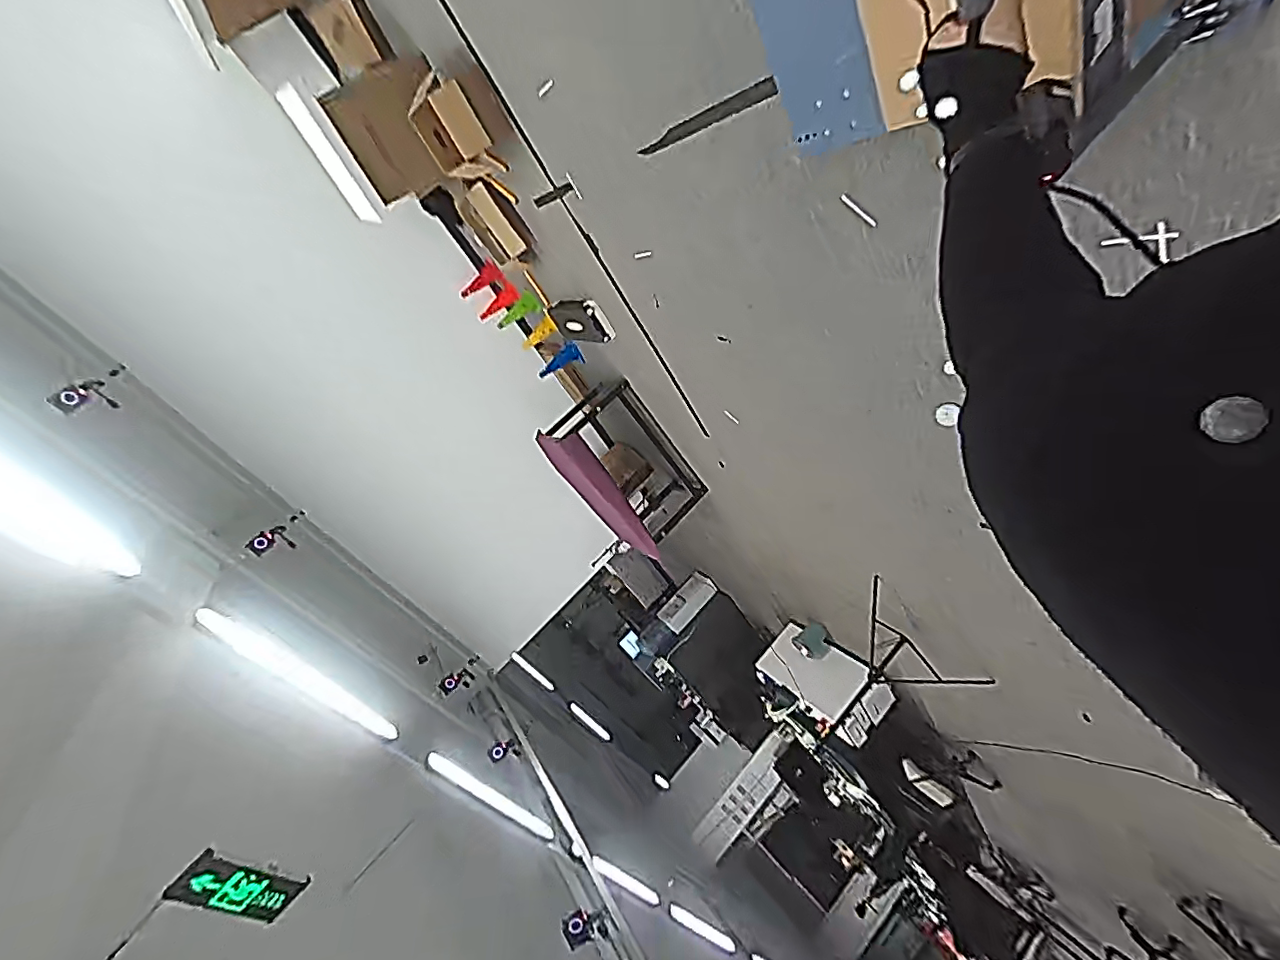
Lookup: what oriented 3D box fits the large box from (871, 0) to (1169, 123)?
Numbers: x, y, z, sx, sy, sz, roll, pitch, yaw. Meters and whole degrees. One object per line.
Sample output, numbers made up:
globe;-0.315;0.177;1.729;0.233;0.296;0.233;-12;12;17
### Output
large box;0.549;-0.826;0.764;0.320;0.320;0.408;26;155;55
